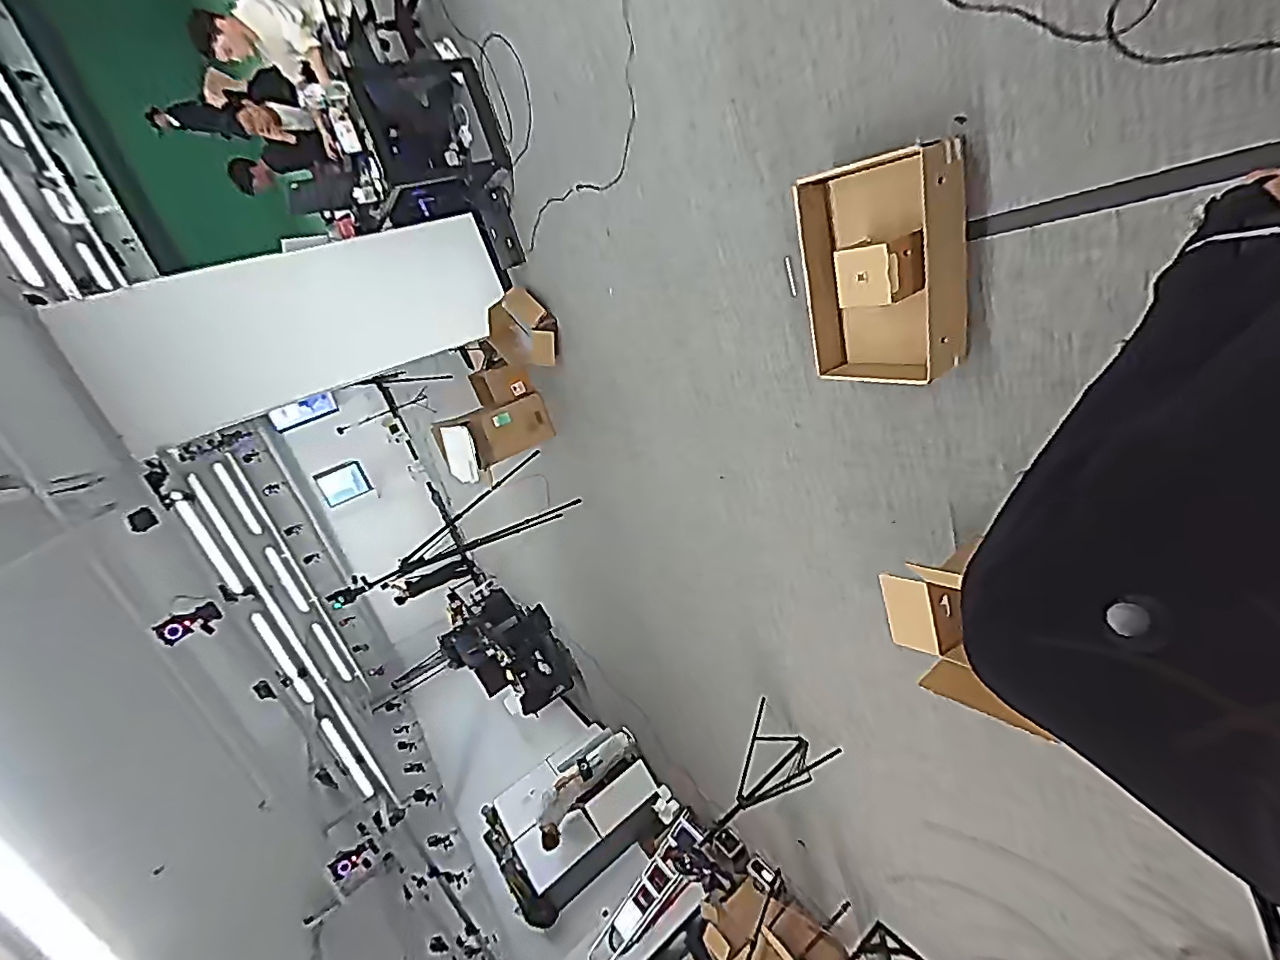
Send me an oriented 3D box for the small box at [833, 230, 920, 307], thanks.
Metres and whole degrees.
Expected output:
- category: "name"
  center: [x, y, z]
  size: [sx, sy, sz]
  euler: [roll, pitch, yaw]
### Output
- category: "small box"
  center: [0.693, -0.613, 1.572]
  size: [0.179, 0.176, 0.168]
  euler: [20, 132, 53]
